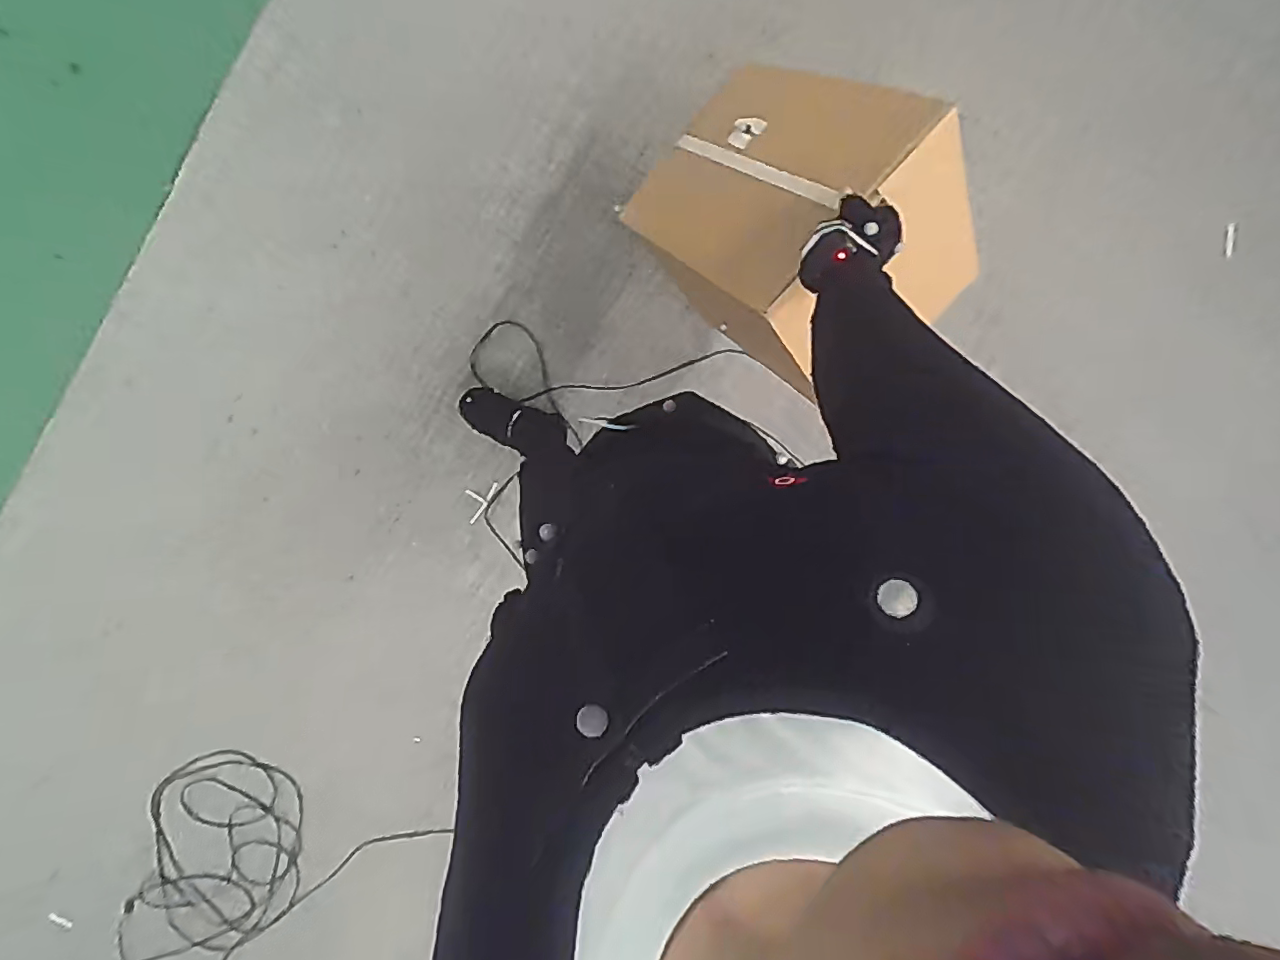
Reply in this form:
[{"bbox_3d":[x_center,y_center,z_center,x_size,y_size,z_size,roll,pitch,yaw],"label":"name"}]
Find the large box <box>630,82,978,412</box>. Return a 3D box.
[{"bbox_3d":[0.261,-0.382,0.903,0.320,0.408,0.320,-46,138,10],"label":"large box"}]
